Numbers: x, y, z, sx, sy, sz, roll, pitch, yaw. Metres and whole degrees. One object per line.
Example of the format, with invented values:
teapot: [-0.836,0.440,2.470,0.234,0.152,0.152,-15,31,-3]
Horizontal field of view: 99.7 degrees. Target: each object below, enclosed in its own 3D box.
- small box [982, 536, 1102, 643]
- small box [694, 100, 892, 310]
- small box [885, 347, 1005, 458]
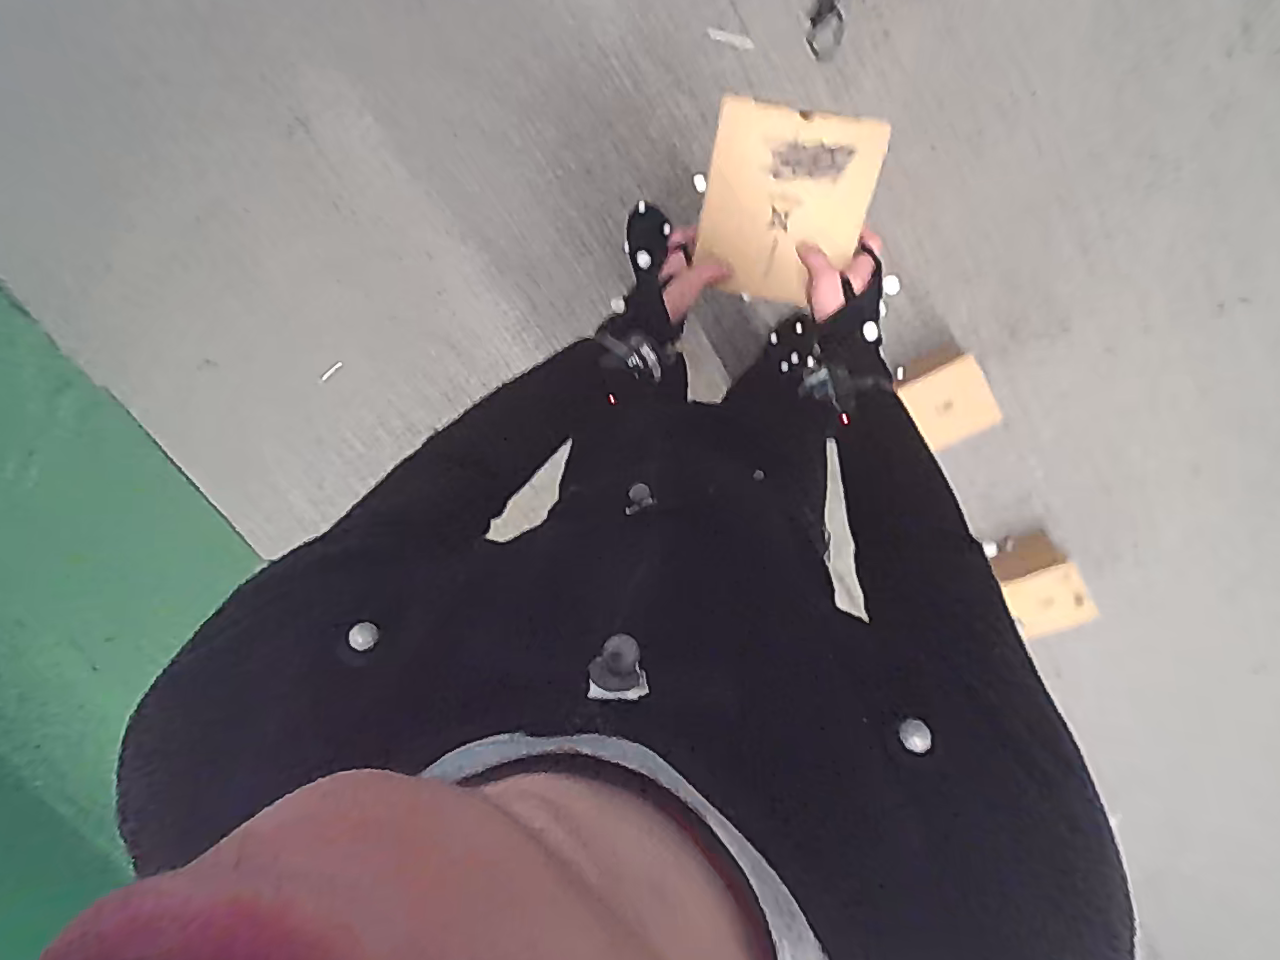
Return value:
small box: [0.979,0.267,1.338,0.179,0.176,0.168,-28,102,25]
small box: [0.160,-0.308,0.626,0.168,0.176,0.179,10,116,4]
small box: [0.682,-0.180,1.235,0.179,0.176,0.168,-30,103,23]
